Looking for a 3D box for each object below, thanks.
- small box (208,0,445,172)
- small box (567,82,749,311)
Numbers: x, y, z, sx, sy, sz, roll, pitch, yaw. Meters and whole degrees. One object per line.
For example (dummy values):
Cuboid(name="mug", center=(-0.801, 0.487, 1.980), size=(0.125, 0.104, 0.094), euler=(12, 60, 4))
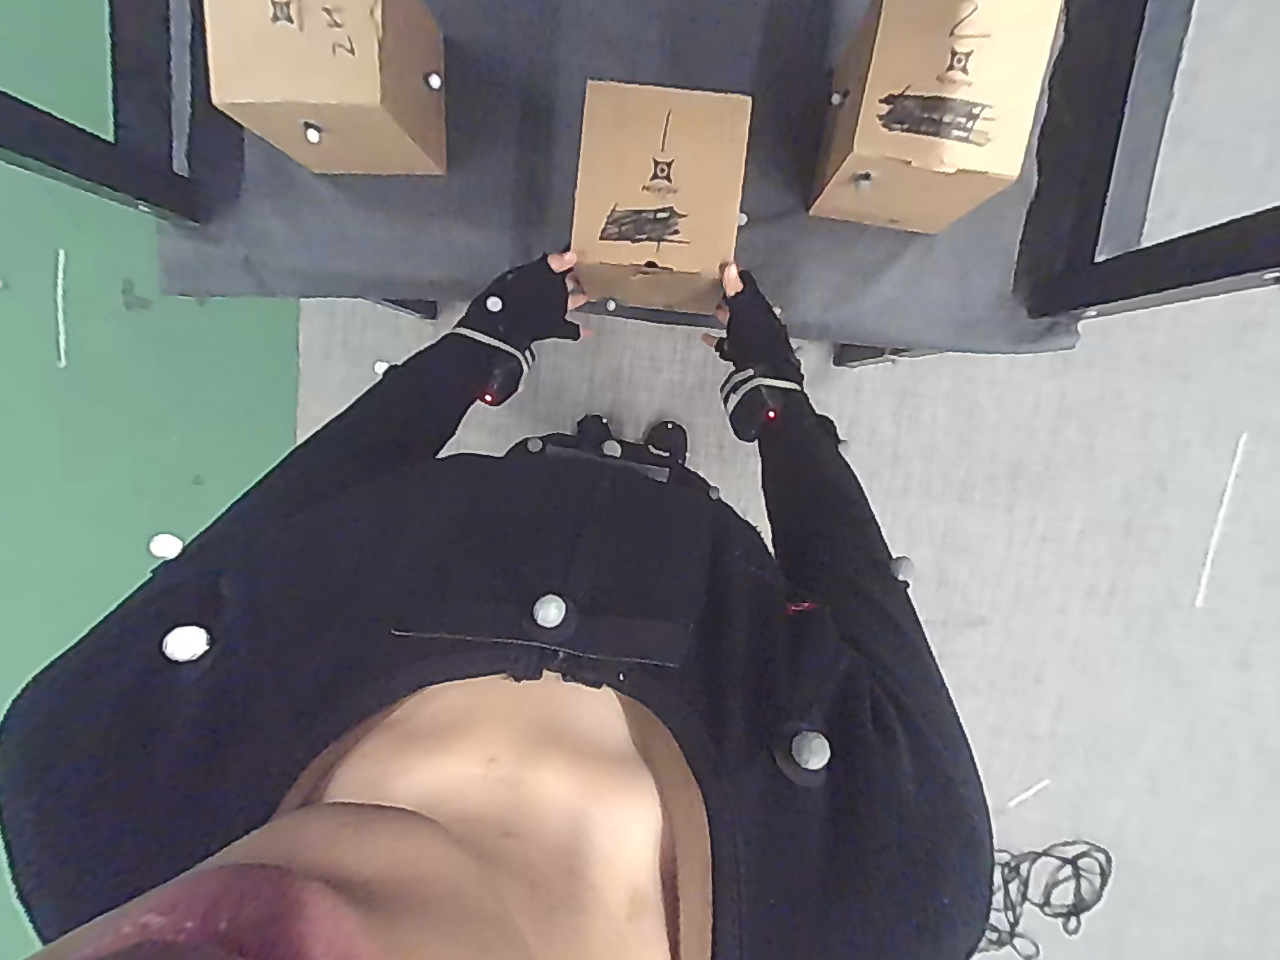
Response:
Cuboid(name="small box", center=(-0.338, -0.469, 0.610), size=(0.179, 0.176, 0.168), euler=(2, 99, 1))
Cuboid(name="small box", center=(0.019, -0.304, 0.619), size=(0.168, 0.176, 0.179), euler=(7, 94, 0))
